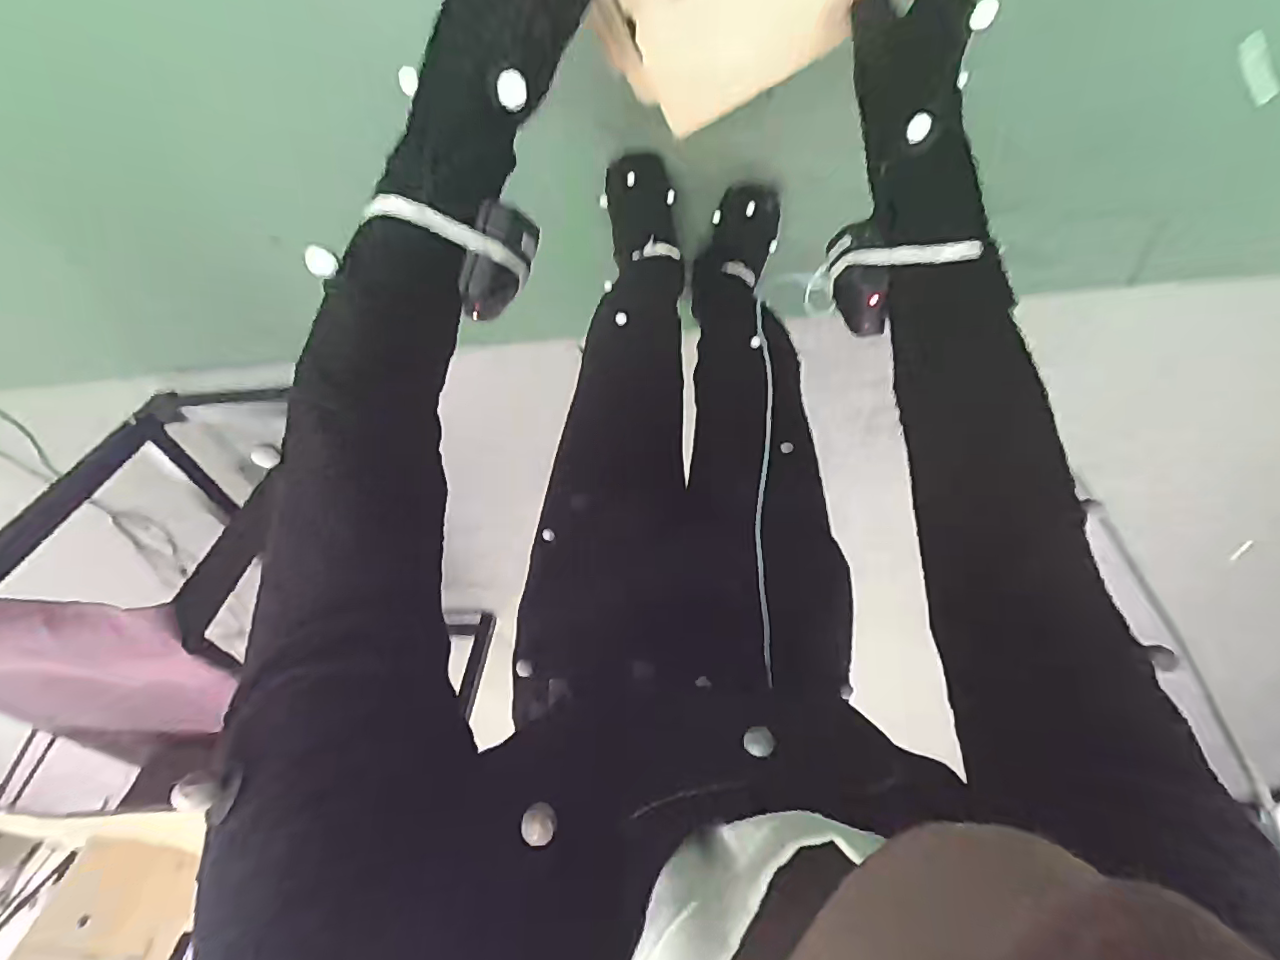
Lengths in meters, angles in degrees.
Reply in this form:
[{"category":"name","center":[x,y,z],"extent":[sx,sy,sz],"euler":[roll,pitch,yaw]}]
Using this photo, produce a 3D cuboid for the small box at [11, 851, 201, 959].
[{"category":"small box","center":[-1.006,0.832,1.044],"extent":[0.179,0.176,0.168],"euler":[-3,135,8]}]
